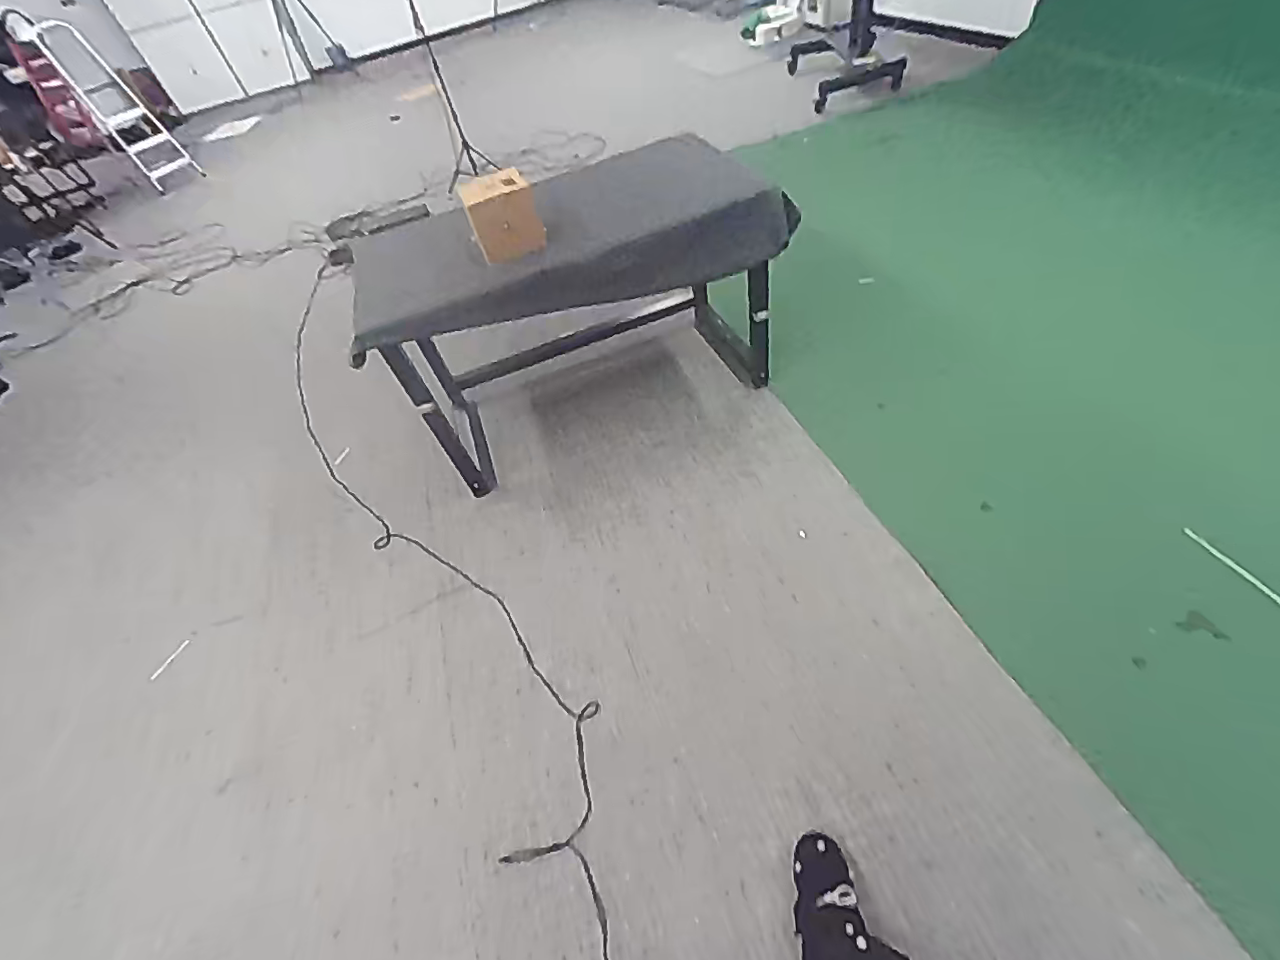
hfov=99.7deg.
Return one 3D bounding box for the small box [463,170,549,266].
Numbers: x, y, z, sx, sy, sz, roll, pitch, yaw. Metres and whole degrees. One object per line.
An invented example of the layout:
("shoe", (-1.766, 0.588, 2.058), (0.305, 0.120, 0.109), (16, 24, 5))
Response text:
("small box", (-0.365, -0.726, 1.503), (0.179, 0.176, 0.168), (-25, 50, -10))
